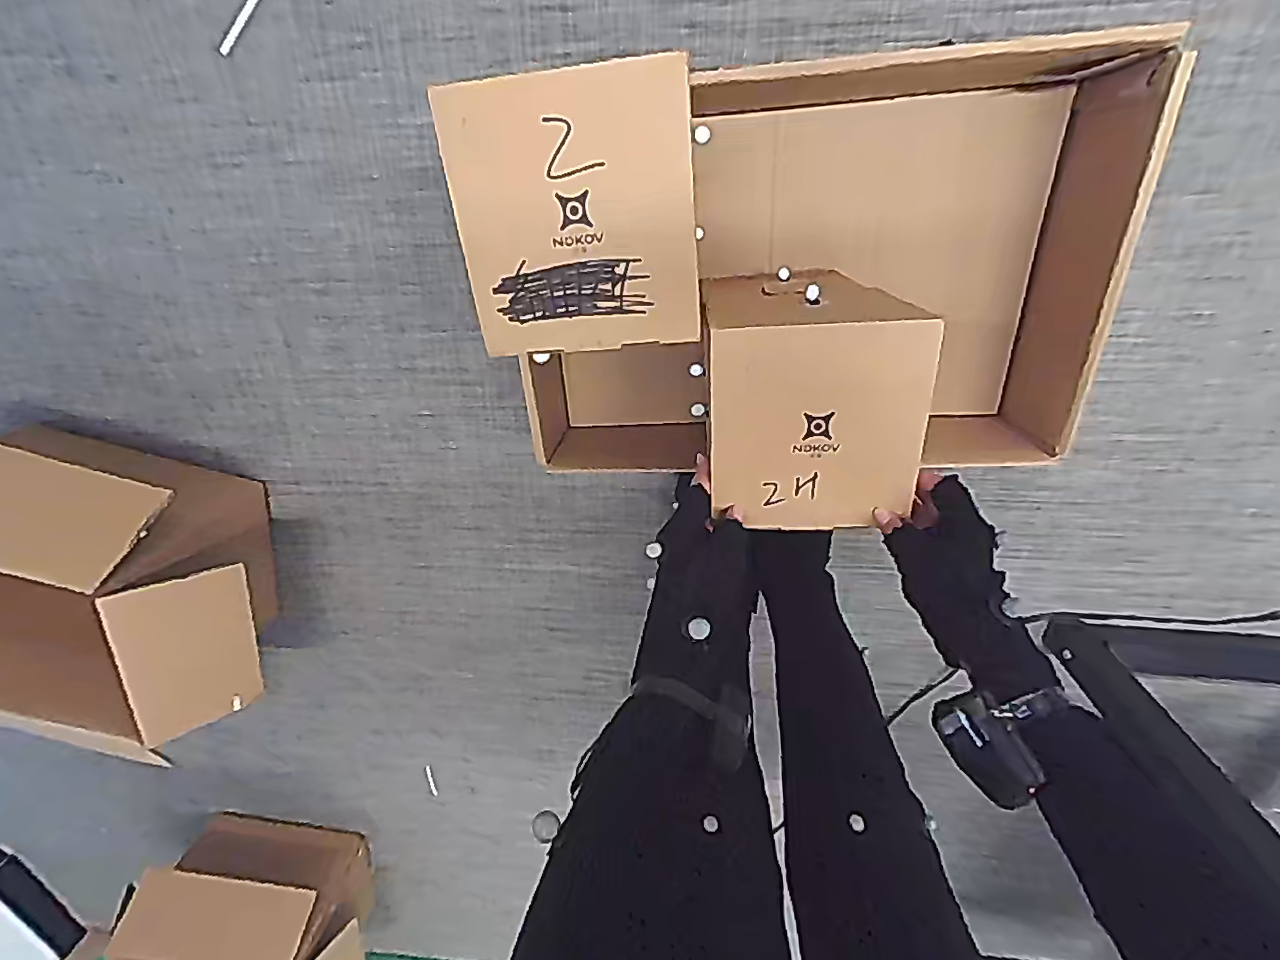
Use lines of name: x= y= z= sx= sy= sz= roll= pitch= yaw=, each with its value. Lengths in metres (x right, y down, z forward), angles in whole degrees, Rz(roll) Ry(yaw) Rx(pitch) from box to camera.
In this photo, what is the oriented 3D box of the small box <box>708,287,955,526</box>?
small box: x=0.148 y=-0.075 z=0.489 sx=0.168 sy=0.176 sz=0.179 roll=0 pitch=118 yaw=6
